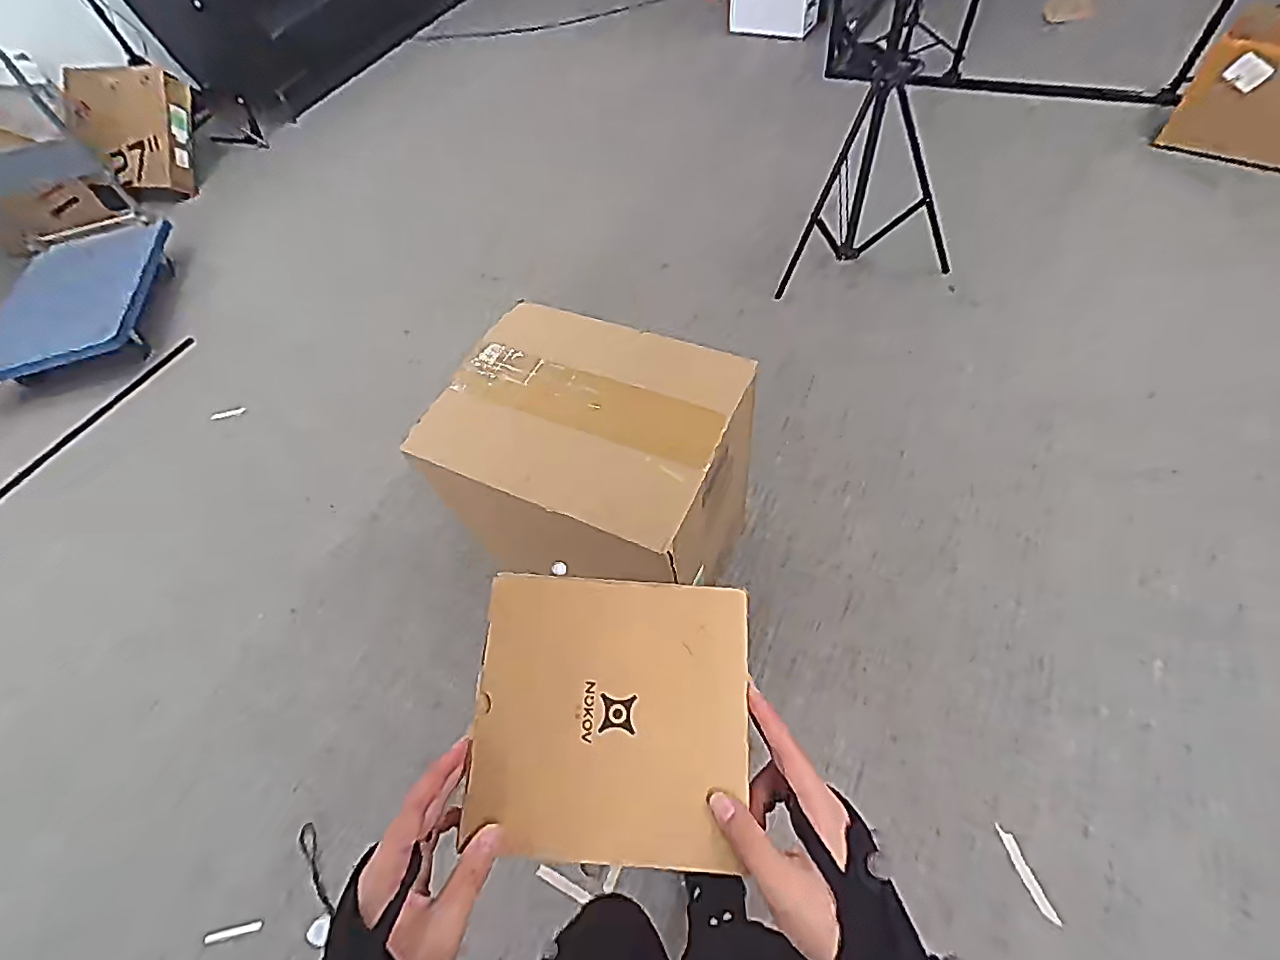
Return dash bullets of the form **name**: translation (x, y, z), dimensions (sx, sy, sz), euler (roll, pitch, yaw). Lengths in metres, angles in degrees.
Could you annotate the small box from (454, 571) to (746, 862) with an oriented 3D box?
- **small box**: translation (-0.019, 0.168, 0.420), dimensions (0.179, 0.176, 0.168), euler (2, 71, 3)
